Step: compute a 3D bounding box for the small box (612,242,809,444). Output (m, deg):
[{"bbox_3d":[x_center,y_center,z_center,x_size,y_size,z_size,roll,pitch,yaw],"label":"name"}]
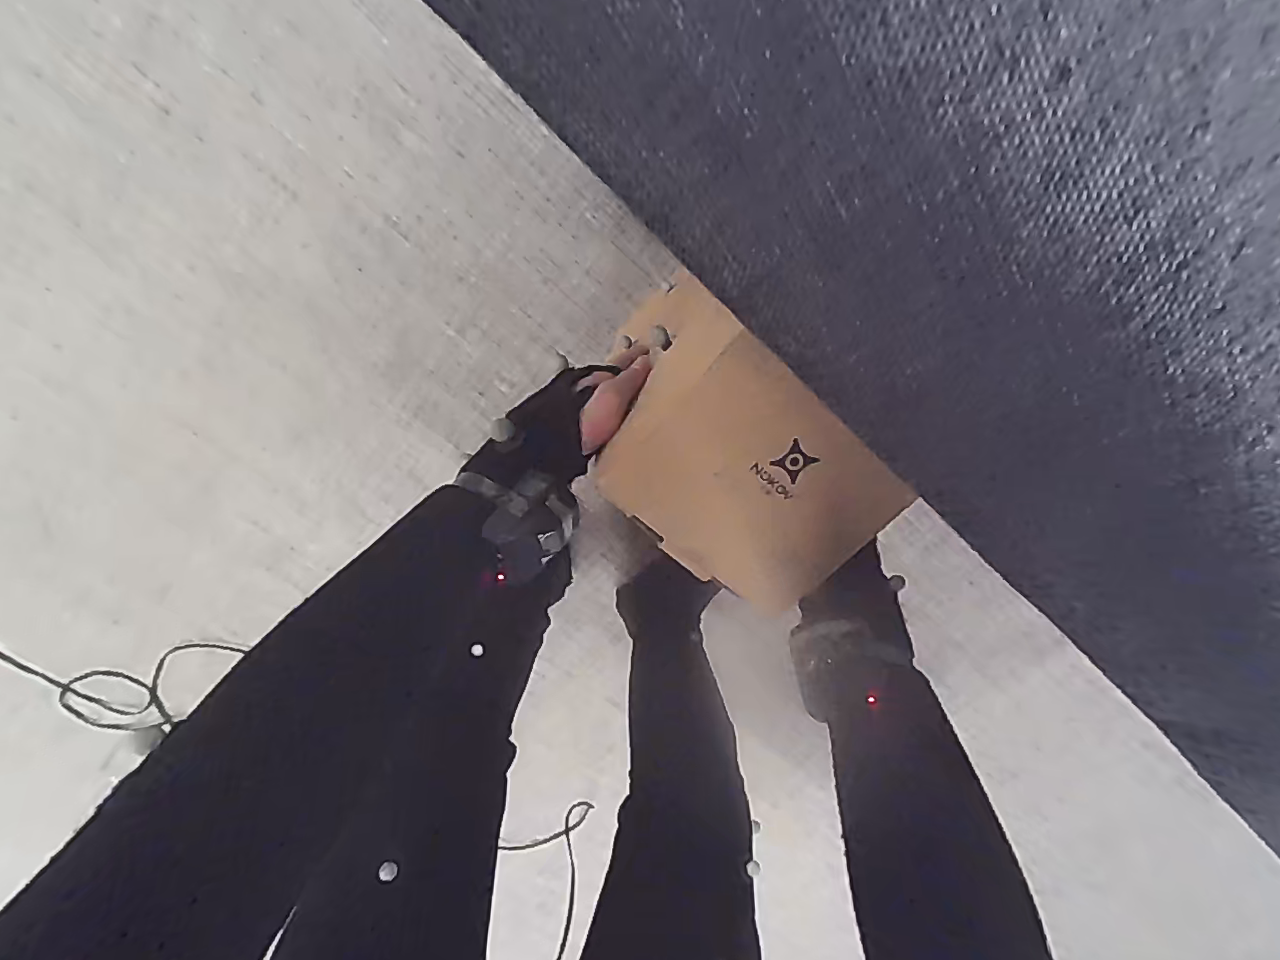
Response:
[{"bbox_3d":[0.080,-0.184,0.699,0.168,0.176,0.179,41,108,-17],"label":"small box"}]
